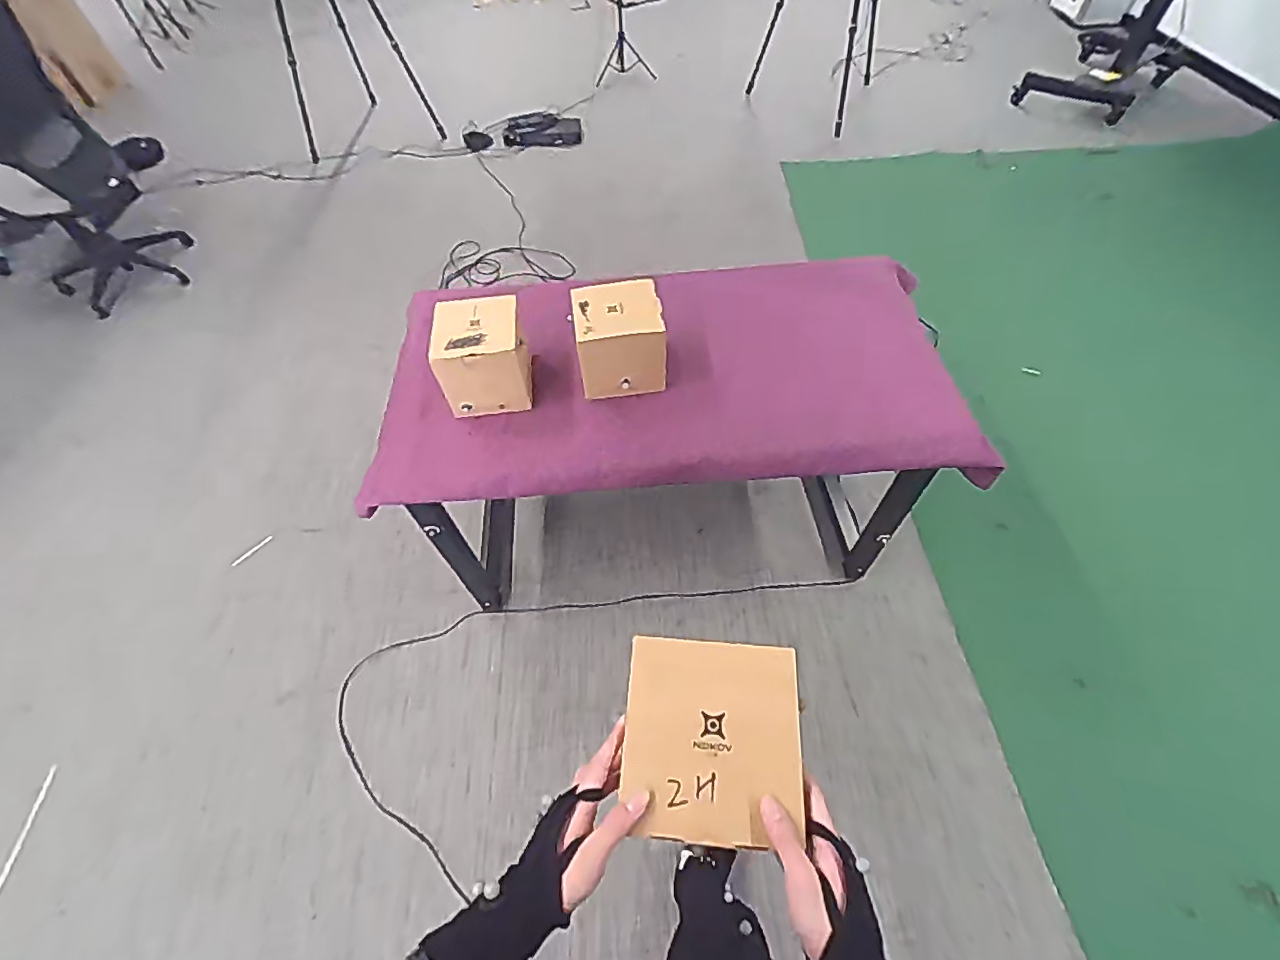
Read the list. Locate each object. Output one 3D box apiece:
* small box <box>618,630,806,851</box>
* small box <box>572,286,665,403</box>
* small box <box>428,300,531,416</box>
[{"bbox_3d":[0.071,0.276,0.576,0.168,0.176,0.179,4,60,4],"label":"small box"},{"bbox_3d":[-0.046,-0.284,1.148,0.179,0.176,0.168,-7,55,-3],"label":"small box"},{"bbox_3d":[-0.326,-0.248,1.133,0.168,0.176,0.179,-7,54,-3],"label":"small box"}]
